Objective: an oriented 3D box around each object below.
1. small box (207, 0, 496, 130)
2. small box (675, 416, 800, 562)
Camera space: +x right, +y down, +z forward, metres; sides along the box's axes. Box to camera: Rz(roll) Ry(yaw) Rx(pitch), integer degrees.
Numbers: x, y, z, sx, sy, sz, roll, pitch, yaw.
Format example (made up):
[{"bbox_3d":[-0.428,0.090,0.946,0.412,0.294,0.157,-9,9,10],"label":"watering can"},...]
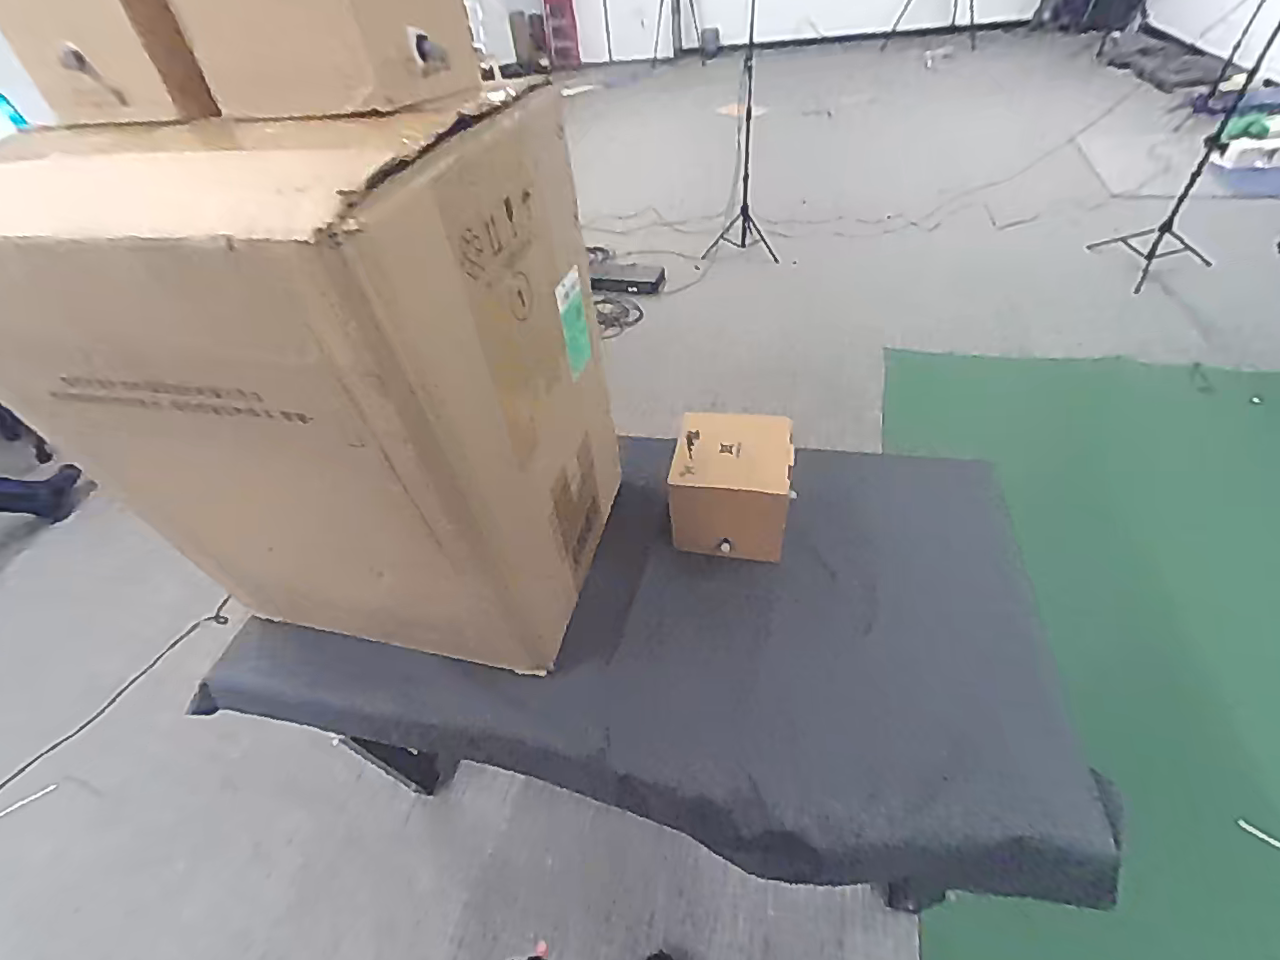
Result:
[{"bbox_3d":[-0.256,-0.423,0.480,0.179,0.176,0.168,8,44,13],"label":"small box"},{"bbox_3d":[0.160,0.017,0.890,0.179,0.176,0.168,6,47,13],"label":"small box"}]
